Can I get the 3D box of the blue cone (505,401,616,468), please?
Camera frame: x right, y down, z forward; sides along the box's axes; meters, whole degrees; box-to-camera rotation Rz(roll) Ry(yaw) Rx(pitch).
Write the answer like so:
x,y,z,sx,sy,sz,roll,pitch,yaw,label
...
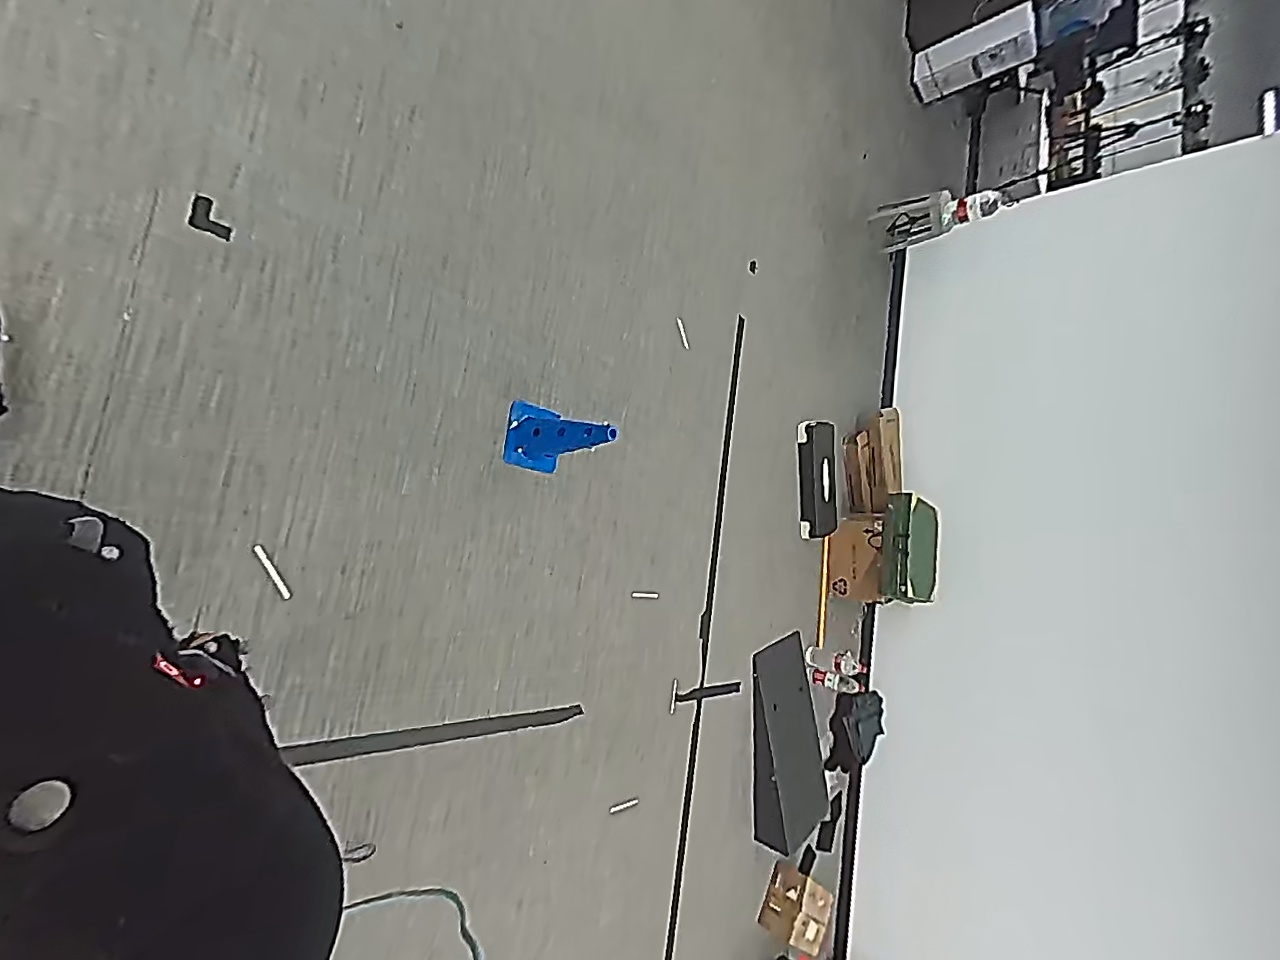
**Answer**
x,y,z,sx,sy,sz,roll,pitch,yaw,label
-0.215,-0.141,1.582,0.193,0.380,0.192,17,78,-47,blue cone
